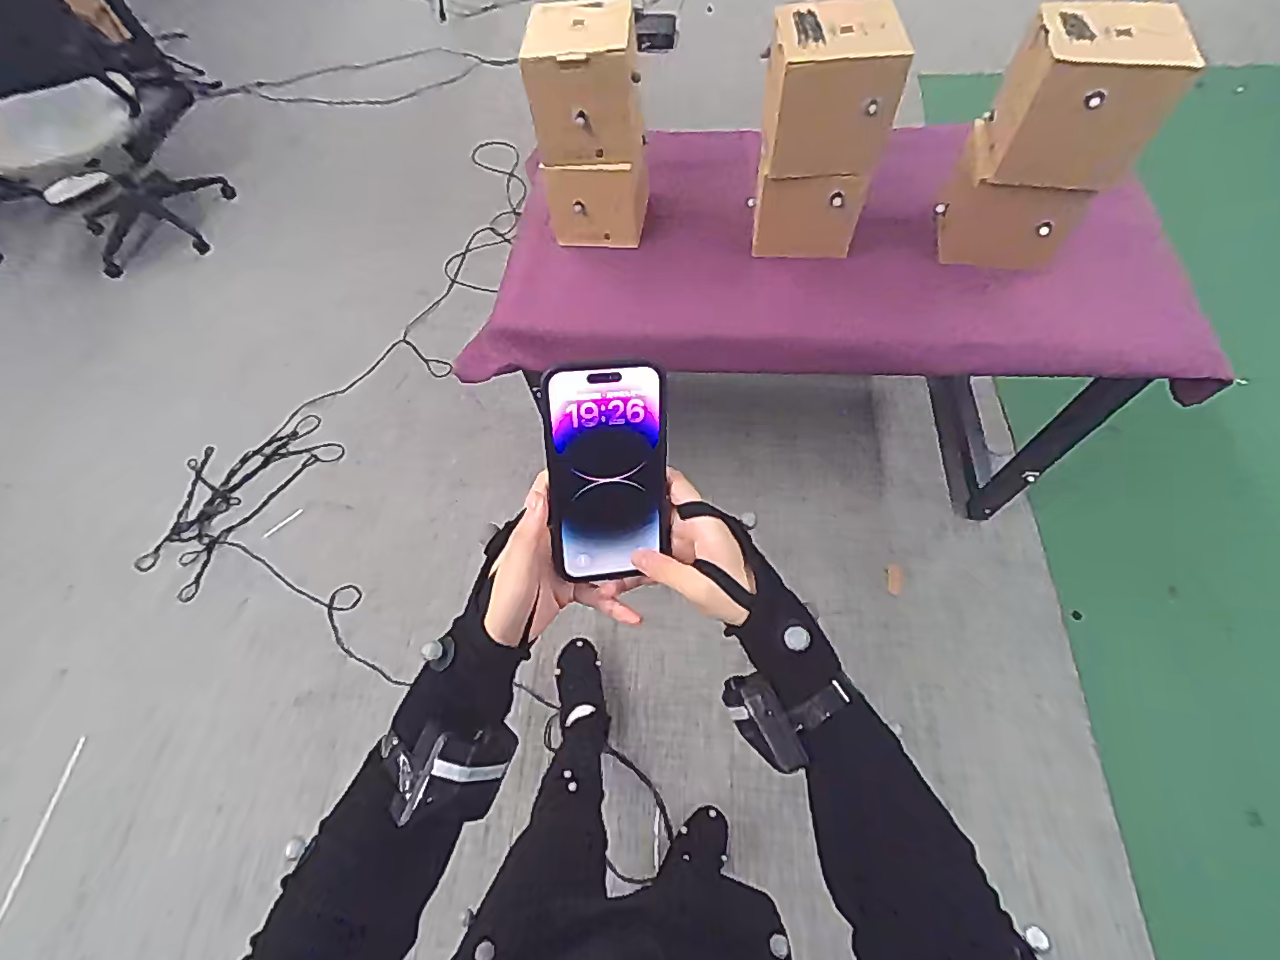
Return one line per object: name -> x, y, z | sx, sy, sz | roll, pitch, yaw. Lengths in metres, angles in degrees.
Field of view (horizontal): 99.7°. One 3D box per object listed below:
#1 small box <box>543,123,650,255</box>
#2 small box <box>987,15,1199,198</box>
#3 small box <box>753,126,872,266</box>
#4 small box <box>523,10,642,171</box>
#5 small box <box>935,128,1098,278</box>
small box -> -0.074, -0.564, 1.059 | 0.168, 0.176, 0.179 | 5, 62, 8
small box -> 0.636, -0.542, 0.793 | 0.179, 0.176, 0.168 | 10, 63, 10
small box -> 0.309, -0.516, 0.995 | 0.179, 0.176, 0.168 | 4, 62, 8
small box -> -0.086, -0.650, 0.919 | 0.168, 0.176, 0.179 | 1, 62, 5
small box -> 0.643, -0.477, 0.944 | 0.179, 0.176, 0.168 | 10, 62, 11
